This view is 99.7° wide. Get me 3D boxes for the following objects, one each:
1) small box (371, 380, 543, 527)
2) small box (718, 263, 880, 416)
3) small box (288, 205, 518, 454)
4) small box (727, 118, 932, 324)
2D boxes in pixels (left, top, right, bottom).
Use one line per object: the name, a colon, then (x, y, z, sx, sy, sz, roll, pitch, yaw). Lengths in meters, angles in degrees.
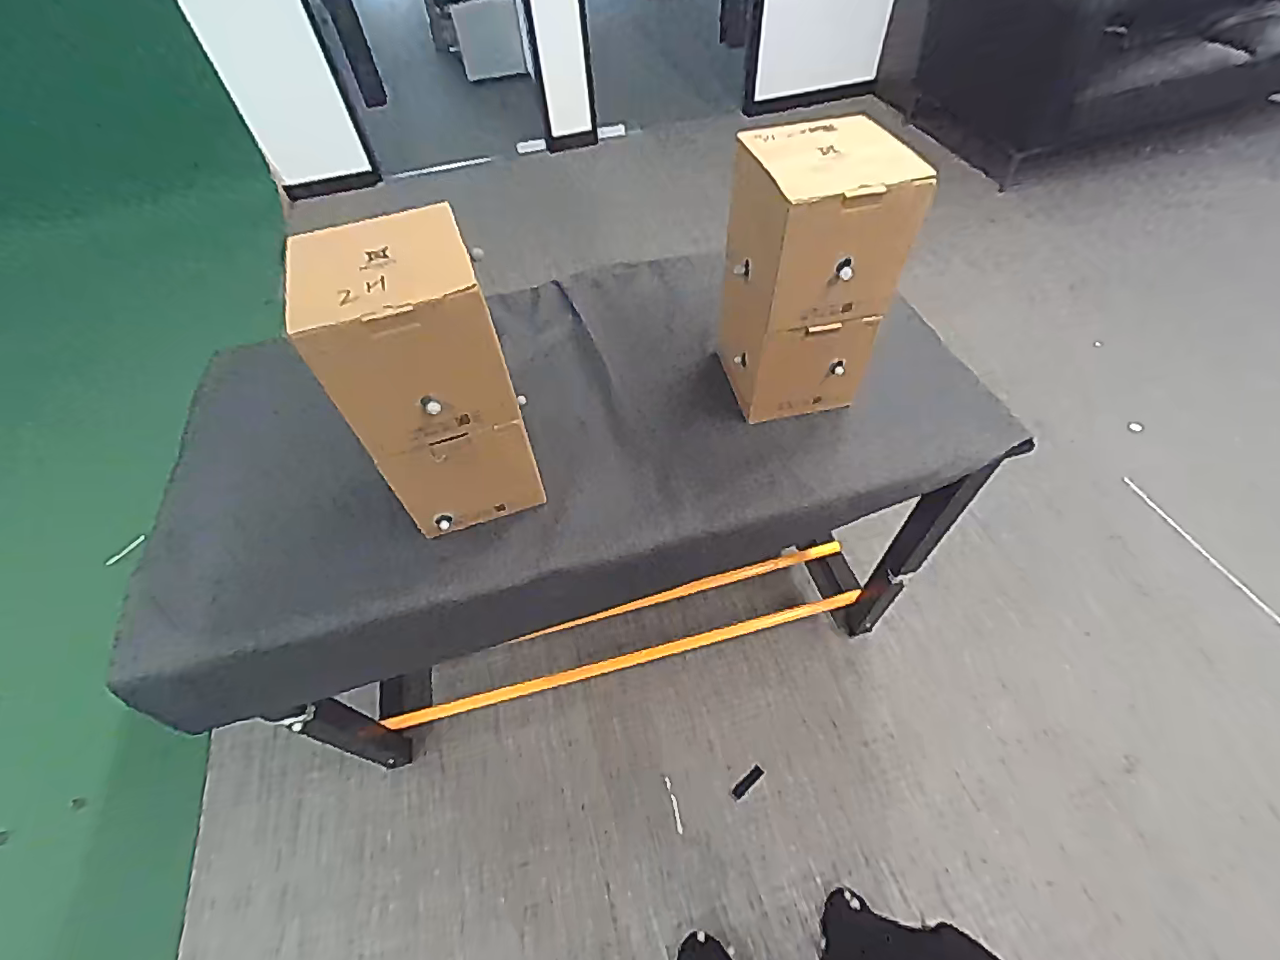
small box: (-0.236, -0.058, 0.711, 0.168, 0.176, 0.179, -17, 53, -9)
small box: (0.219, -0.211, 0.799, 0.168, 0.176, 0.179, -10, 53, -5)
small box: (-0.244, -0.159, 0.581, 0.168, 0.176, 0.179, -19, 54, -10)
small box: (0.214, -0.311, 0.669, 0.168, 0.176, 0.179, -11, 54, -5)
